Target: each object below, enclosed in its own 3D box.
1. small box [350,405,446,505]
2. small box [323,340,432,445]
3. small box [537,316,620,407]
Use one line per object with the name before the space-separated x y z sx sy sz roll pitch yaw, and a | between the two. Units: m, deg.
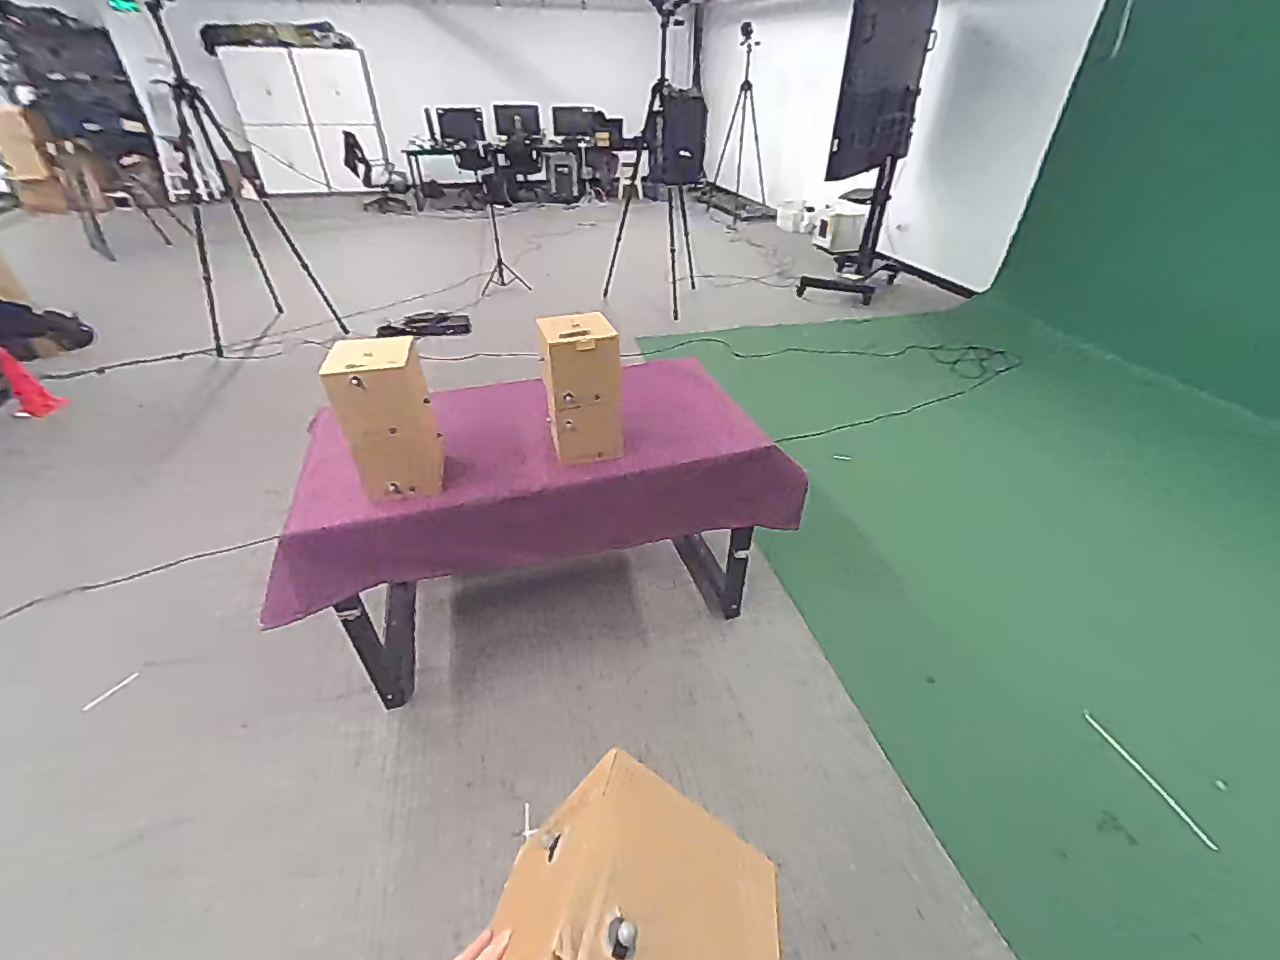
small box | -0.572 -0.063 1.305 0.168 0.176 0.179 -8 37 -10
small box | -0.574 -0.196 1.208 0.168 0.176 0.179 -9 36 -9
small box | -0.150 -0.287 1.329 0.168 0.176 0.179 -11 36 -14
